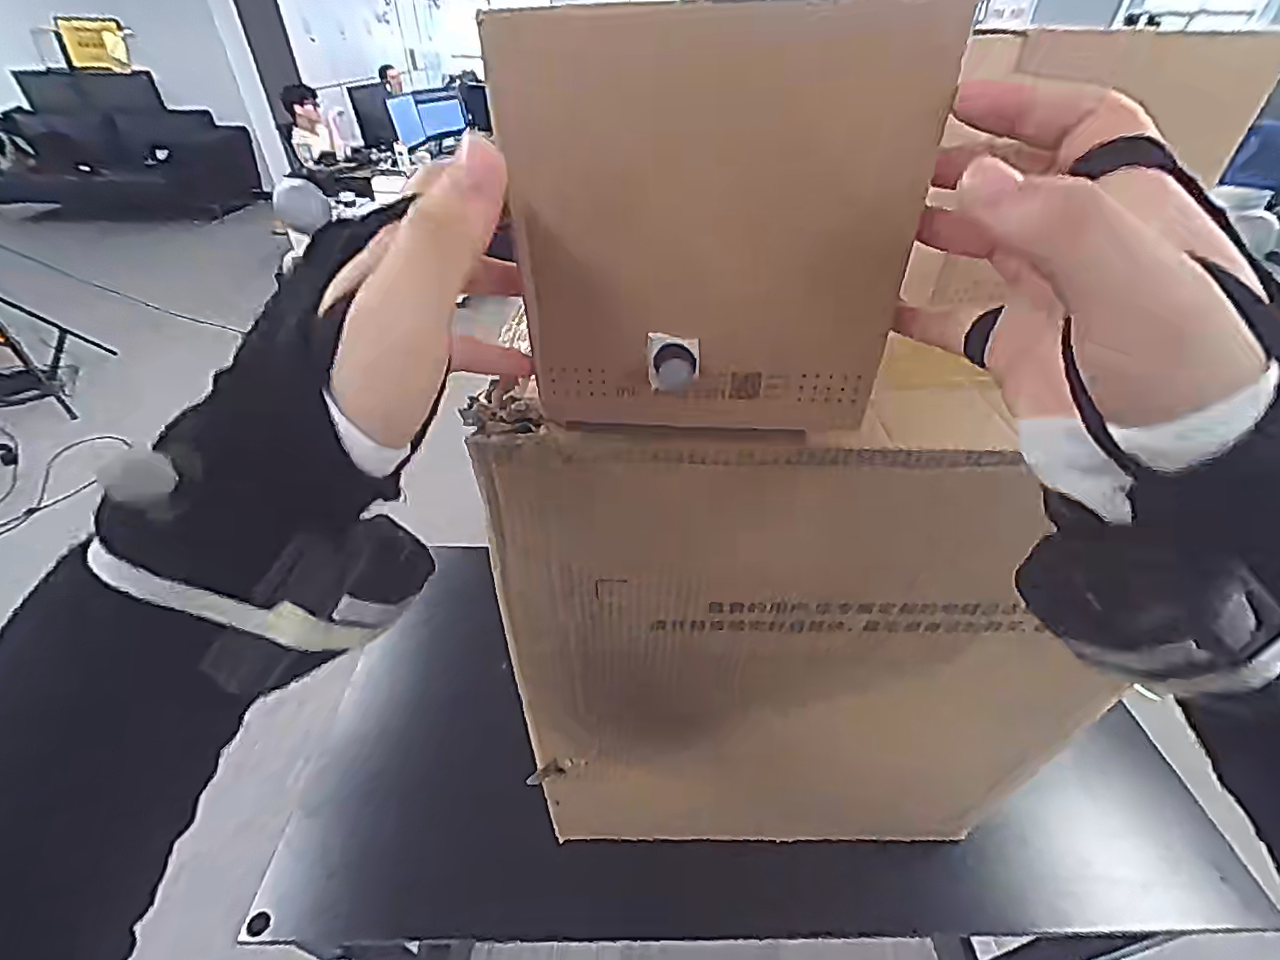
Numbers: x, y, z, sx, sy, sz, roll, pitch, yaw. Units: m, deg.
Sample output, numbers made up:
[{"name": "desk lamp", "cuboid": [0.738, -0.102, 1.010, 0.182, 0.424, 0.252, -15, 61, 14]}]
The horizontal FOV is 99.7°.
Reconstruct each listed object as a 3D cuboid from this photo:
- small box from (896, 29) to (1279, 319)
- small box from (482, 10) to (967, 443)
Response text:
[{"name": "small box", "cuboid": [0.284, -0.238, 0.422, 0.168, 0.176, 0.179, -2, 39, -2]}, {"name": "small box", "cuboid": [0.035, -0.138, 0.295, 0.168, 0.176, 0.179, 0, 40, 5]}]
